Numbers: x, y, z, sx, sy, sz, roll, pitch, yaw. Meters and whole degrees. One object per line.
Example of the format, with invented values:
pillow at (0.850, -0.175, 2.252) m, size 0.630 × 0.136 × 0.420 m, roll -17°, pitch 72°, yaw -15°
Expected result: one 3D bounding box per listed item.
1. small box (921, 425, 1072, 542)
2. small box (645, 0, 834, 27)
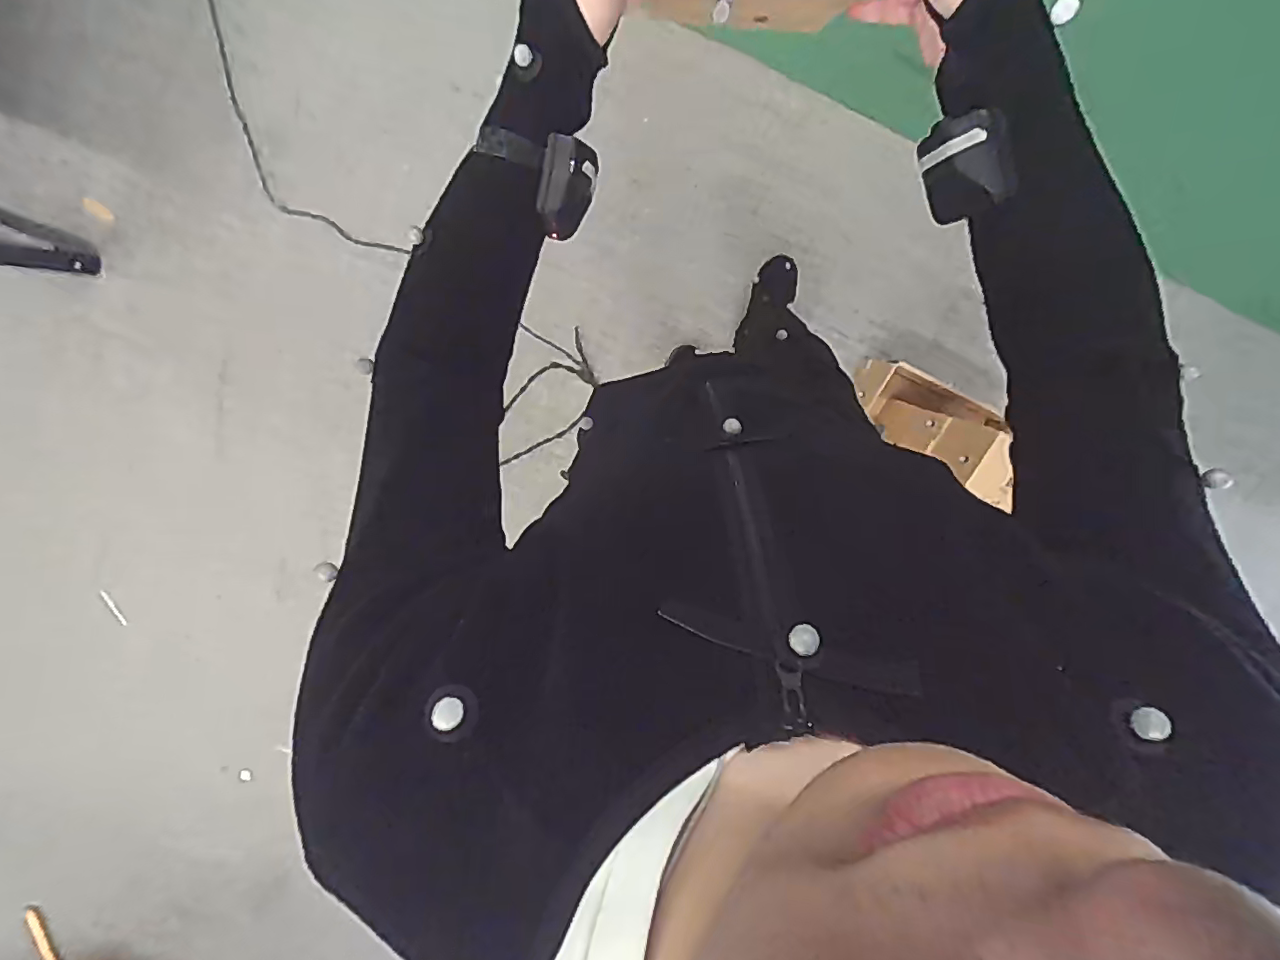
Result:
small box at (0.742, -0.001, 1.149) m, size 0.168 × 0.176 × 0.179 m, roll 26°, pitch 104°, yaw -6°
small box at (0.085, -0.461, 0.395) m, size 0.168 × 0.176 × 0.179 m, roll 2°, pitch 118°, yaw -1°
